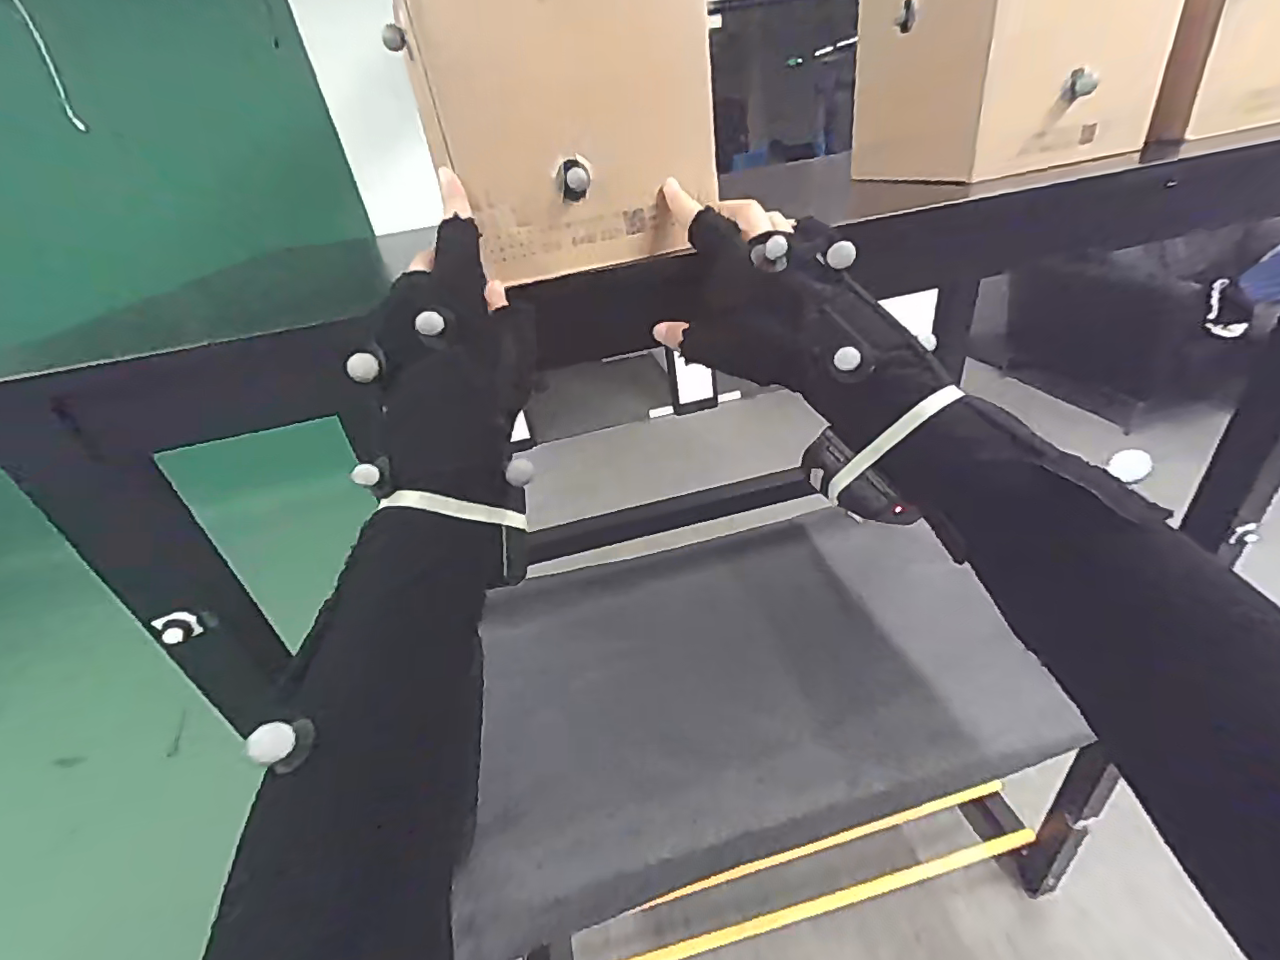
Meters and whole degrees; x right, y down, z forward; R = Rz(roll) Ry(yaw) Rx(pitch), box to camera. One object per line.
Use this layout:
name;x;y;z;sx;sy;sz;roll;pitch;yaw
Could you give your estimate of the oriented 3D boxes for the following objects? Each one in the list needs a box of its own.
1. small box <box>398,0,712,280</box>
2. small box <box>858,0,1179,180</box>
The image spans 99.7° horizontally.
small box;-0.061;-0.249;0.385;0.168;0.176;0.179;-18;32;-13
small box;0.311;-0.368;0.475;0.168;0.176;0.179;-14;31;-7
